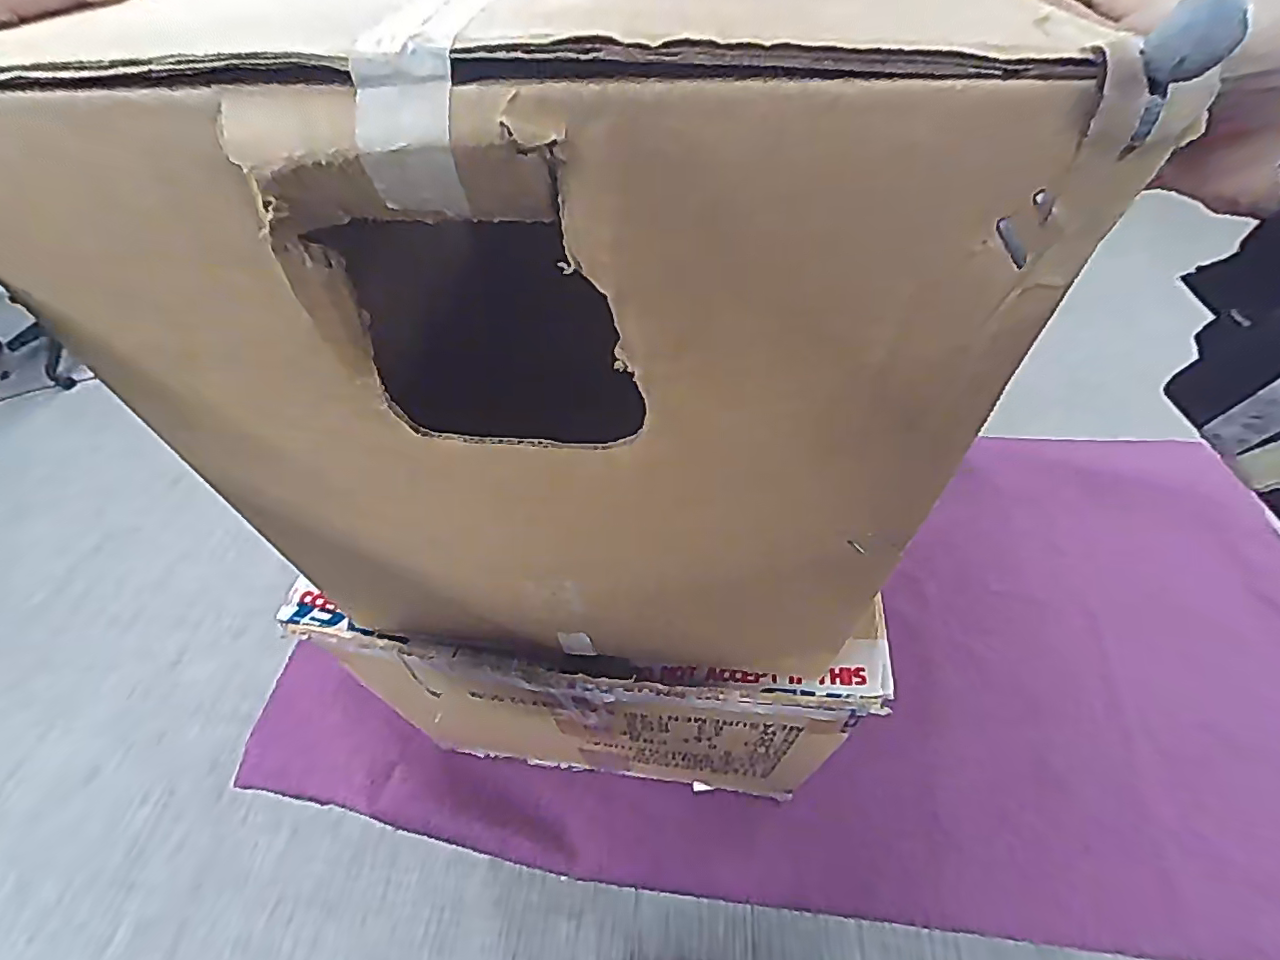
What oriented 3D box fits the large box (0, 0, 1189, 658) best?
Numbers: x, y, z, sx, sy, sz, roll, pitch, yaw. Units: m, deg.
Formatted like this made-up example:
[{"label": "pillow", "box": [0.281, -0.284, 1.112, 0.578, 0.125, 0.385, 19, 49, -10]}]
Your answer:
[{"label": "large box", "box": [-0.013, -0.142, 0.363, 0.320, 0.320, 0.408, 3, 51, 6]}]
